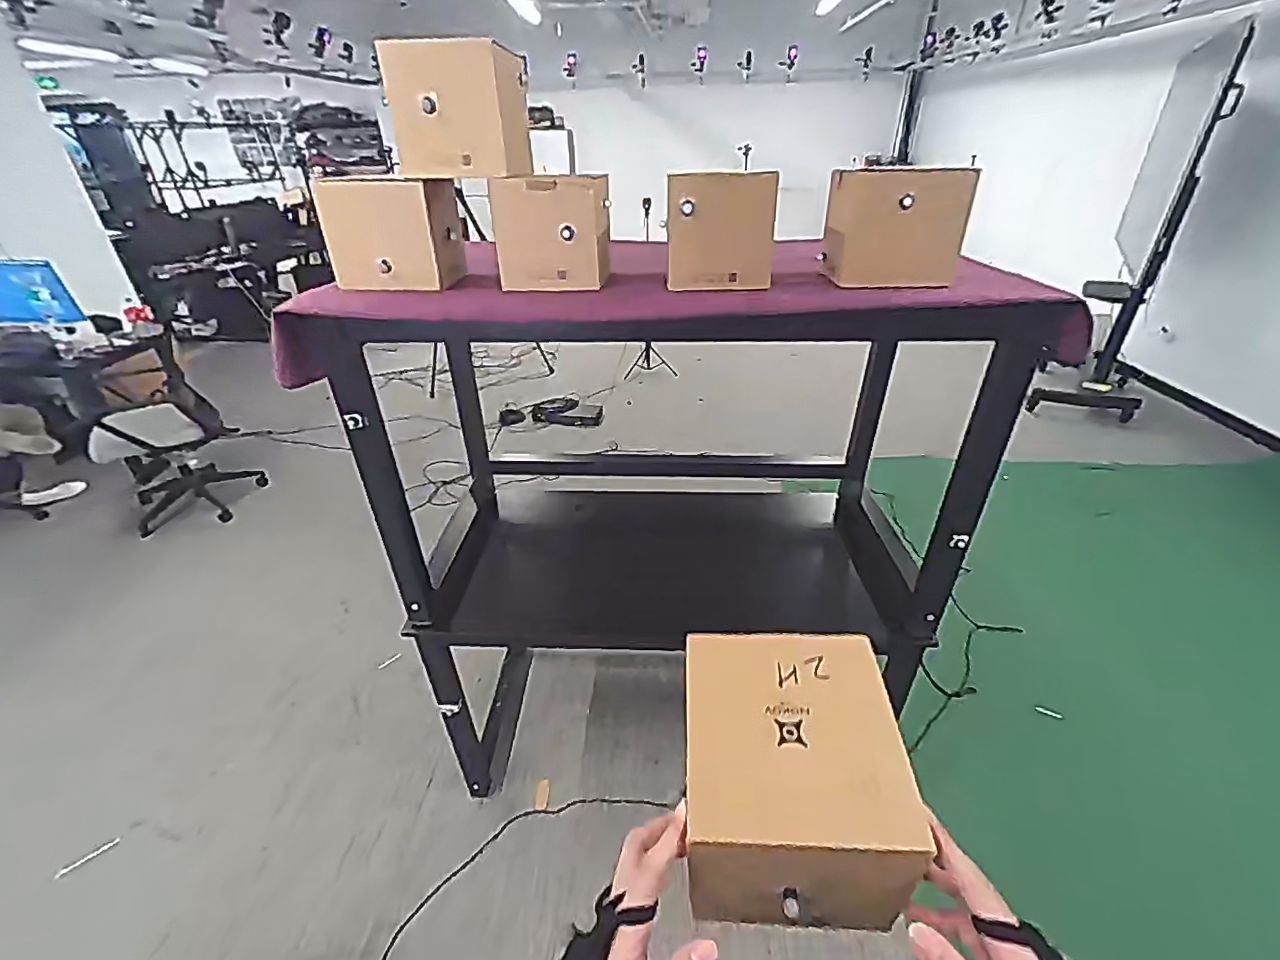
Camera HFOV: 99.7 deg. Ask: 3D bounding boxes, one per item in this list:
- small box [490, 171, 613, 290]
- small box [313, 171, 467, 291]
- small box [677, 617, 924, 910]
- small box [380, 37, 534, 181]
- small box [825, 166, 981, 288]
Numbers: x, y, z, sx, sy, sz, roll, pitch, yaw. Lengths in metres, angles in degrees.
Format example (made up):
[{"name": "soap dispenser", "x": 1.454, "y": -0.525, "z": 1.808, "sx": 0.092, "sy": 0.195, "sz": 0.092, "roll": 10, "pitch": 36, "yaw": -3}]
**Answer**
[{"name": "small box", "x": -0.138, "y": -0.424, "z": 0.920, "sx": 0.168, "sy": 0.176, "sz": 0.179, "roll": 2, "pitch": 30, "yaw": 4}, {"name": "small box", "x": -0.411, "y": -0.427, "z": 0.928, "sx": 0.179, "sy": 0.176, "sz": 0.168, "roll": 1, "pitch": 31, "yaw": 0}, {"name": "small box", "x": 0.121, "y": 0.244, "z": 0.474, "sx": 0.168, "sy": 0.176, "sz": 0.179, "roll": 0, "pitch": 36, "yaw": 6}, {"name": "small box", "x": -0.269, "y": -0.568, "z": 0.846, "sx": 0.168, "sy": 0.176, "sz": 0.179, "roll": 1, "pitch": 30, "yaw": 3}, {"name": "small box", "x": 0.415, "y": -0.417, "z": 0.892, "sx": 0.179, "sy": 0.176, "sz": 0.168, "roll": 1, "pitch": 30, "yaw": 3}]
